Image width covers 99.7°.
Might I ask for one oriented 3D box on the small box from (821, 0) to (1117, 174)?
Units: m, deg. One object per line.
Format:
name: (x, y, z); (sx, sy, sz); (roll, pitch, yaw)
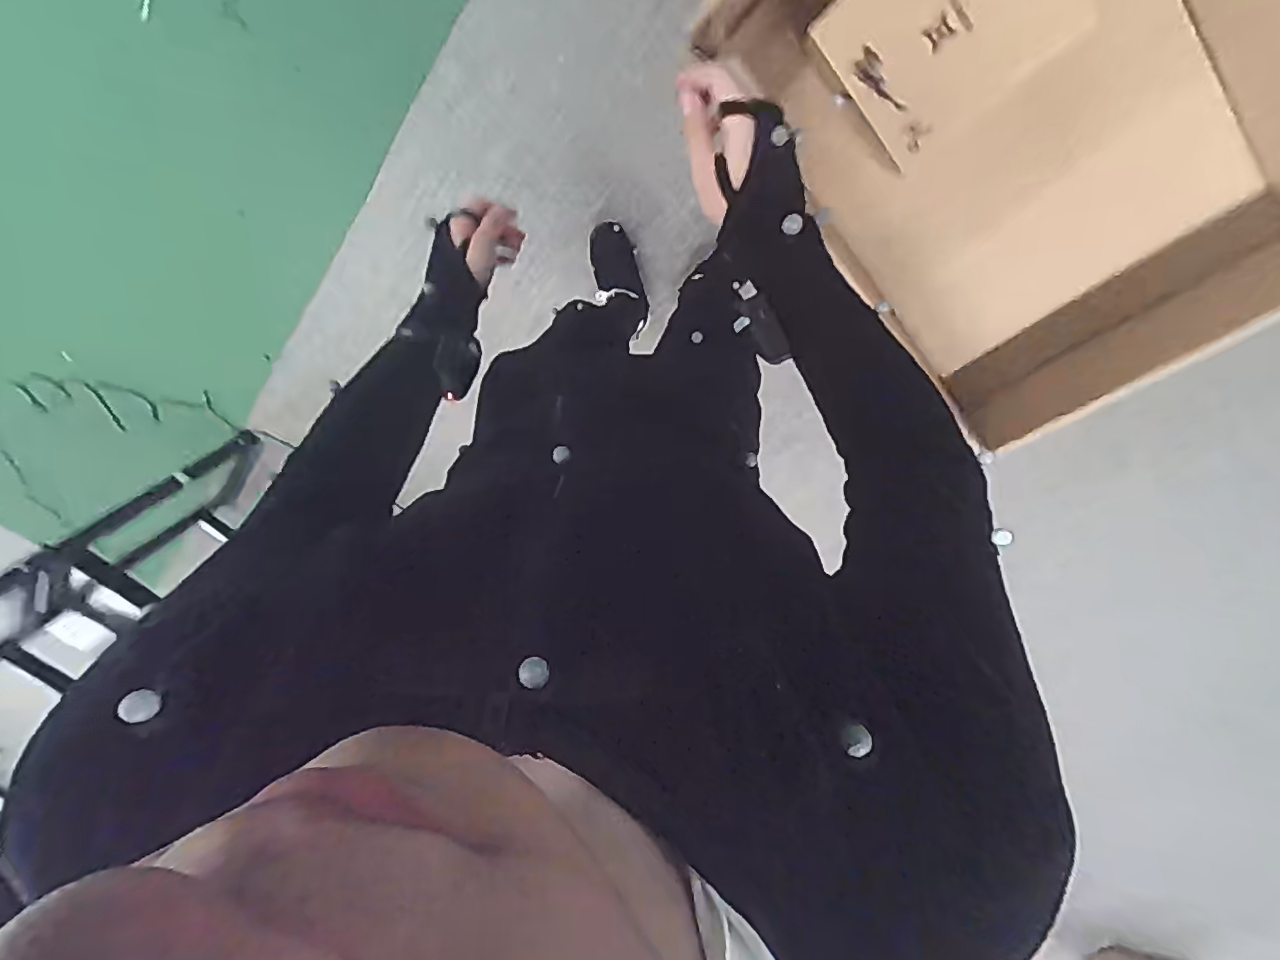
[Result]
small box: (0.297, -0.440, 0.531); (0.179, 0.176, 0.168); (-35, 108, 31)
